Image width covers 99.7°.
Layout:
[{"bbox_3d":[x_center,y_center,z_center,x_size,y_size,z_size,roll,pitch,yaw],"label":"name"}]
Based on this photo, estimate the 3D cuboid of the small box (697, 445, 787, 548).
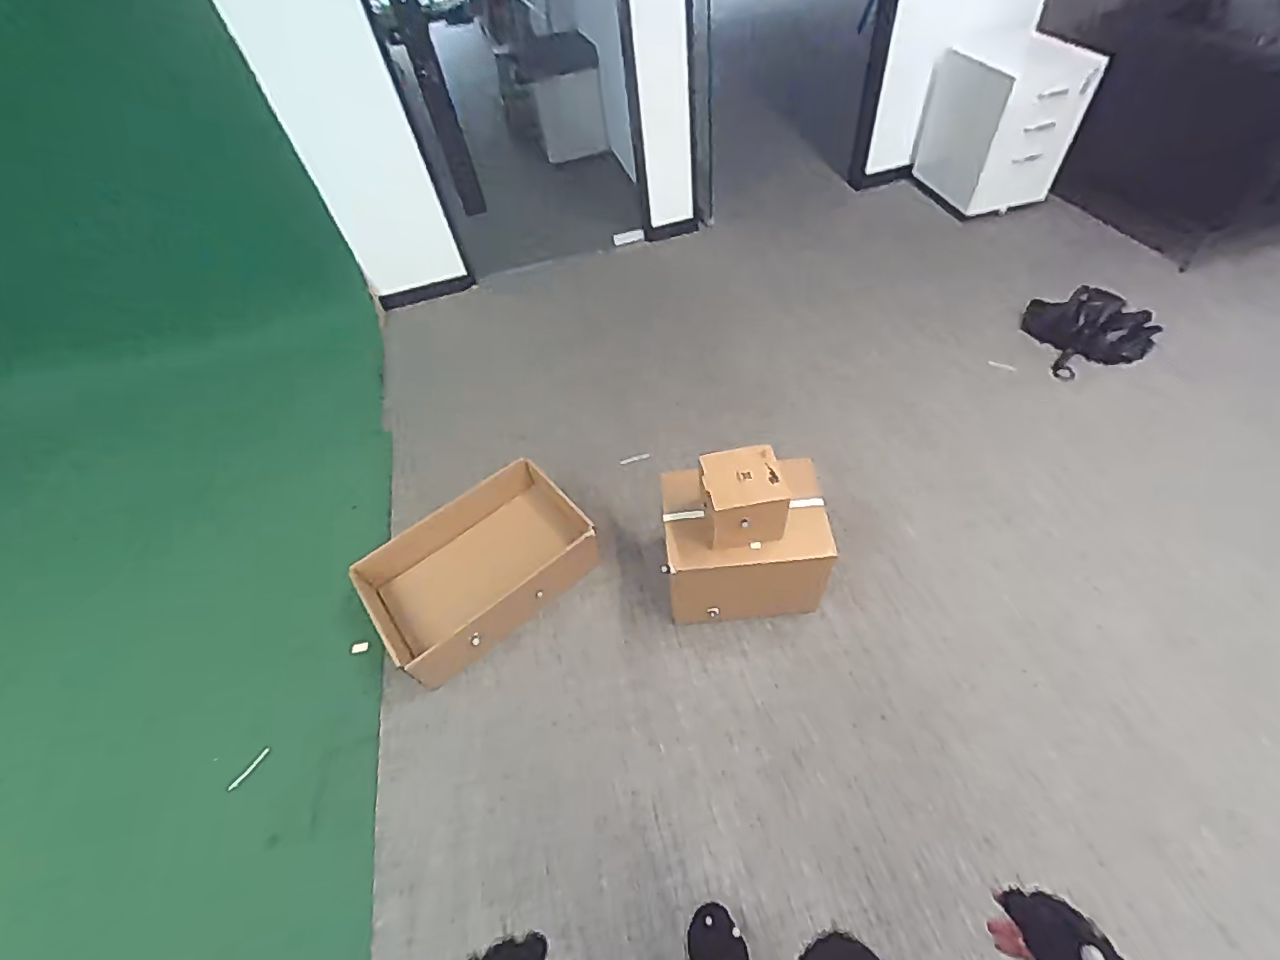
[{"bbox_3d":[0.240,0.044,1.293,0.179,0.176,0.168,-11,52,0],"label":"small box"}]
